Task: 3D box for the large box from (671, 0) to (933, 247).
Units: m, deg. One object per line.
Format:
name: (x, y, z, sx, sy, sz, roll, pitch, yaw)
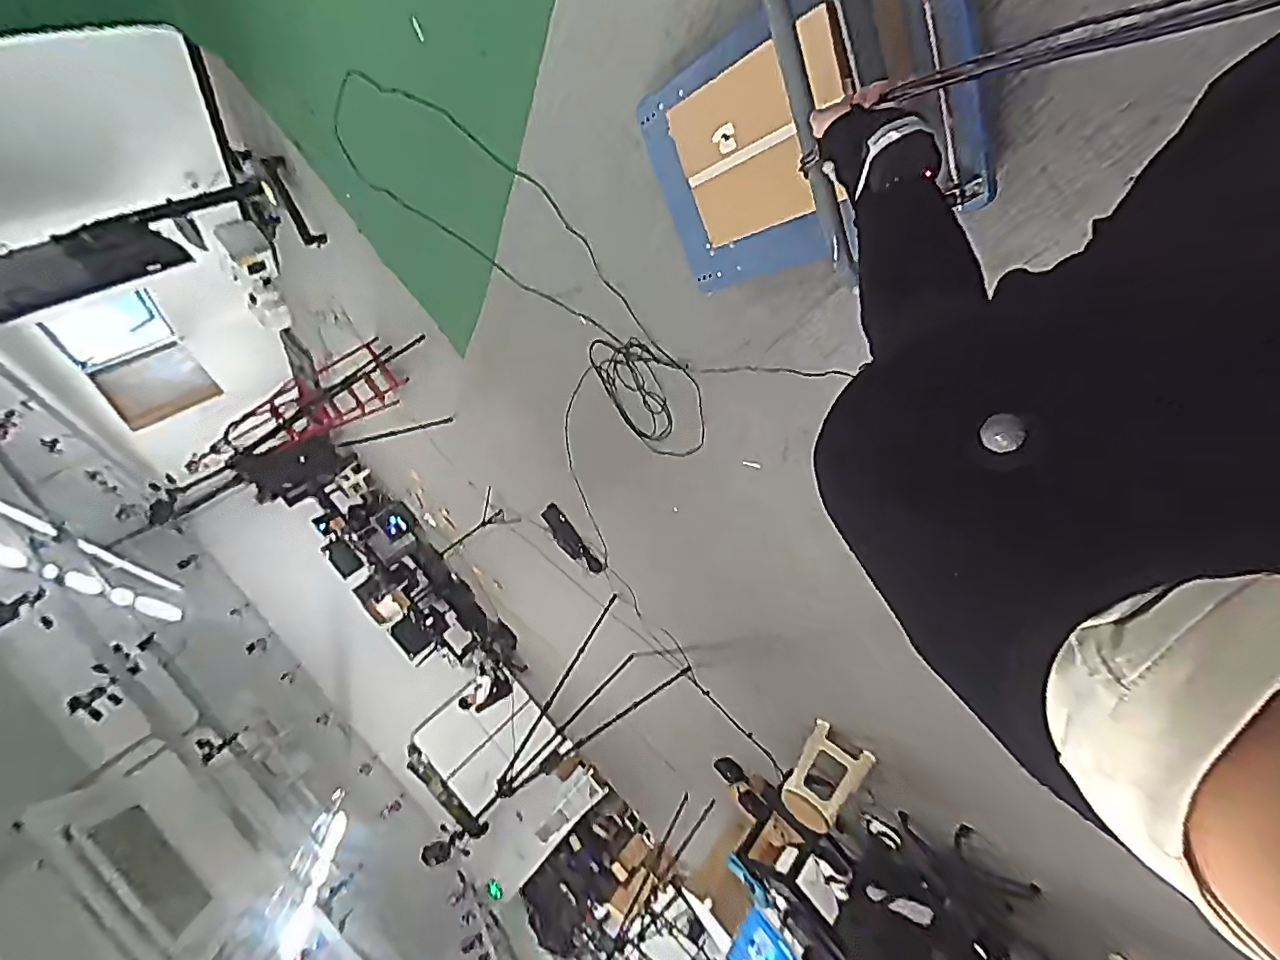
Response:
large box: (0.352, -0.771, 1.187, 0.408, 0.320, 0.320, 5, 127, 50)
